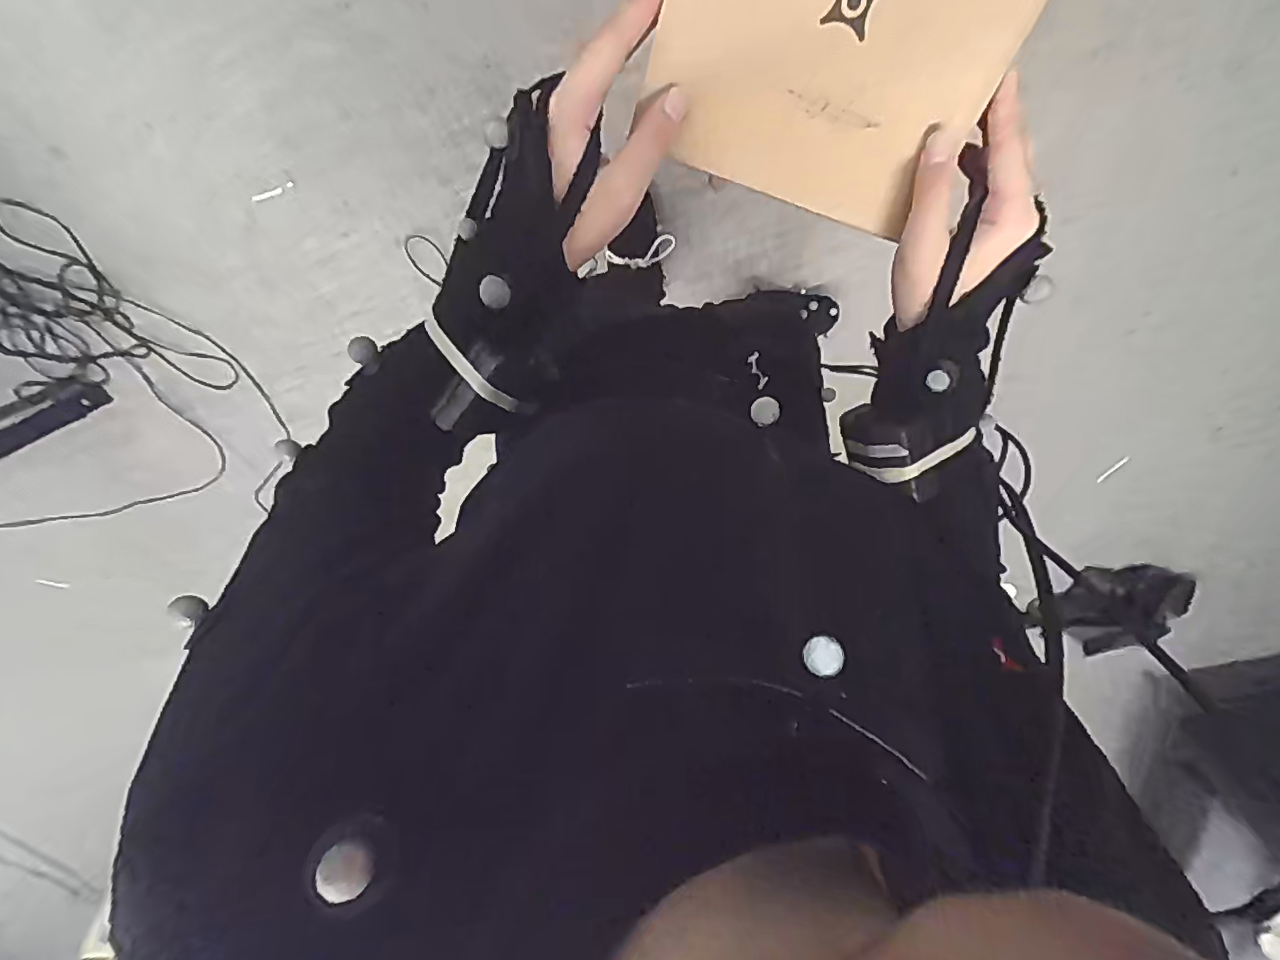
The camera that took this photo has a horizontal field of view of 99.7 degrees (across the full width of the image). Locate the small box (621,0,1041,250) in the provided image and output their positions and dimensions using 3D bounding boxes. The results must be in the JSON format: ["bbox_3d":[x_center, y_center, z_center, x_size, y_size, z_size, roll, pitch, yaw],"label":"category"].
[{"bbox_3d":[0.091,-0.260,0.301,0.168,0.176,0.179,14,126,-9],"label":"small box"}]
